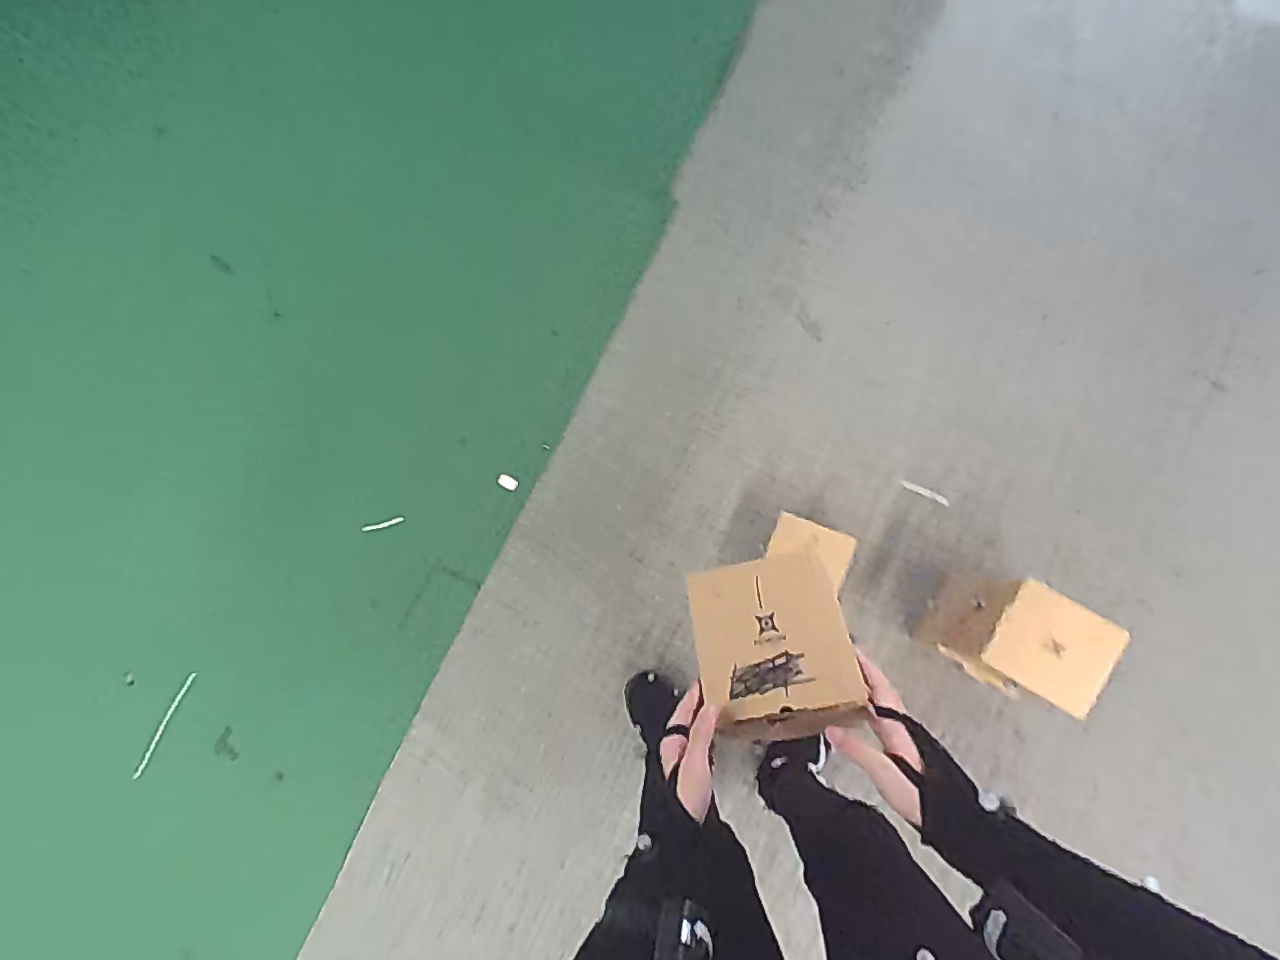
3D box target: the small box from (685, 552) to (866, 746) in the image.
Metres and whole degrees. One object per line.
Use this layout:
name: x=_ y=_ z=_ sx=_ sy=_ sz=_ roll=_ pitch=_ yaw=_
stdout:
small box: x=0.165 y=0.214 z=0.655 sx=0.168 sy=0.176 sz=0.179 roll=-16 pitch=54 yaw=12

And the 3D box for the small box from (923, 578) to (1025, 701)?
small box: x=0.727 y=0.323 z=1.135 sx=0.168 sy=0.176 sz=0.179 roll=33 pitch=89 yaw=13

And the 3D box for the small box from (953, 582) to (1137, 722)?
small box: x=0.712 y=0.294 z=0.975 sx=0.179 sy=0.176 sz=0.168 roll=31 pitch=87 yaw=14
